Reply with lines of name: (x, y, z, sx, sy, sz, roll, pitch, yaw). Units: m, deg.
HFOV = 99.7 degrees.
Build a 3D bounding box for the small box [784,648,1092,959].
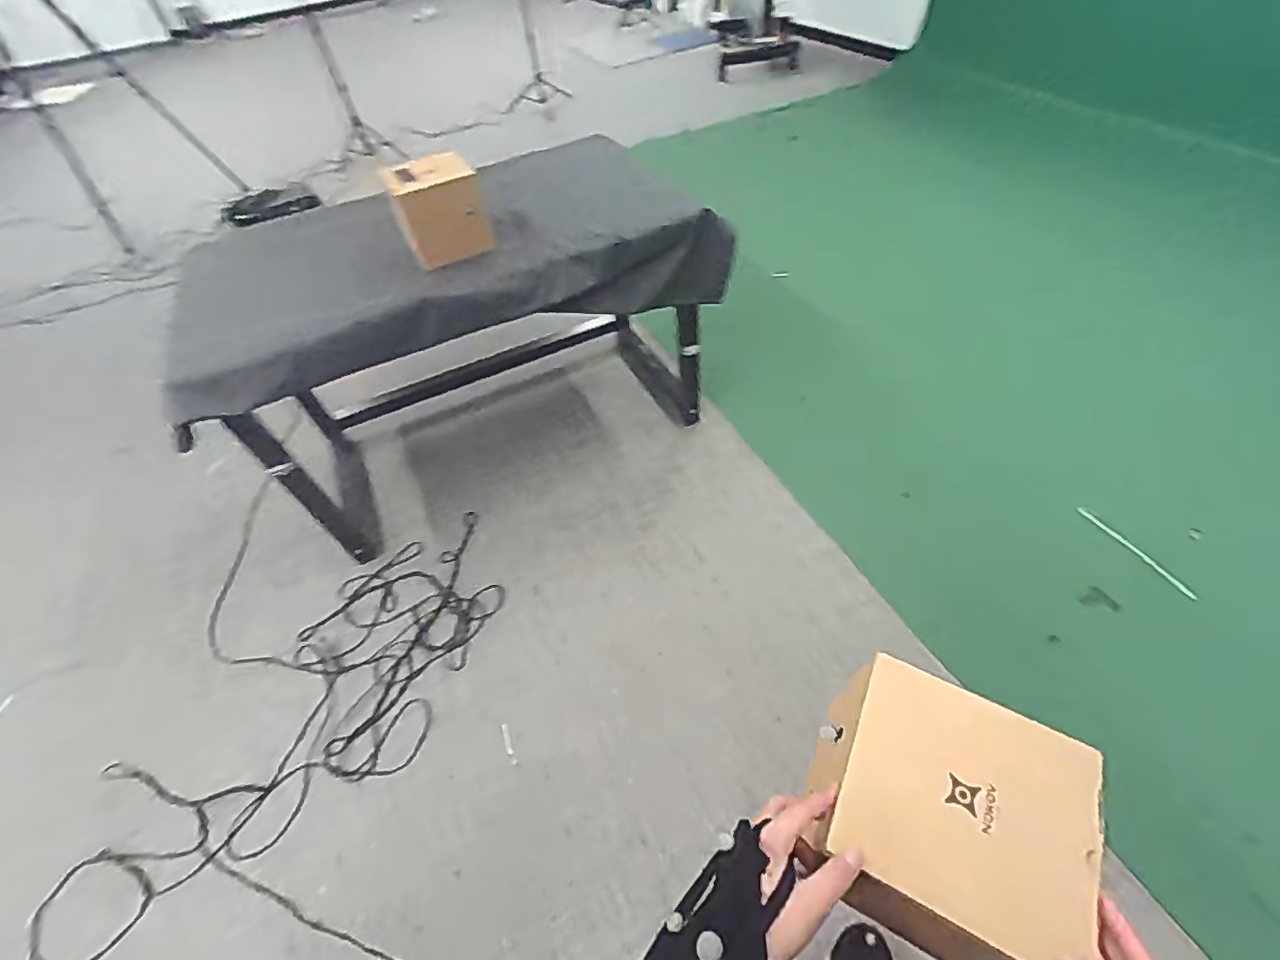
small box: (0.241, 0.283, 0.467, 0.179, 0.176, 0.168, 22, 55, 17)
